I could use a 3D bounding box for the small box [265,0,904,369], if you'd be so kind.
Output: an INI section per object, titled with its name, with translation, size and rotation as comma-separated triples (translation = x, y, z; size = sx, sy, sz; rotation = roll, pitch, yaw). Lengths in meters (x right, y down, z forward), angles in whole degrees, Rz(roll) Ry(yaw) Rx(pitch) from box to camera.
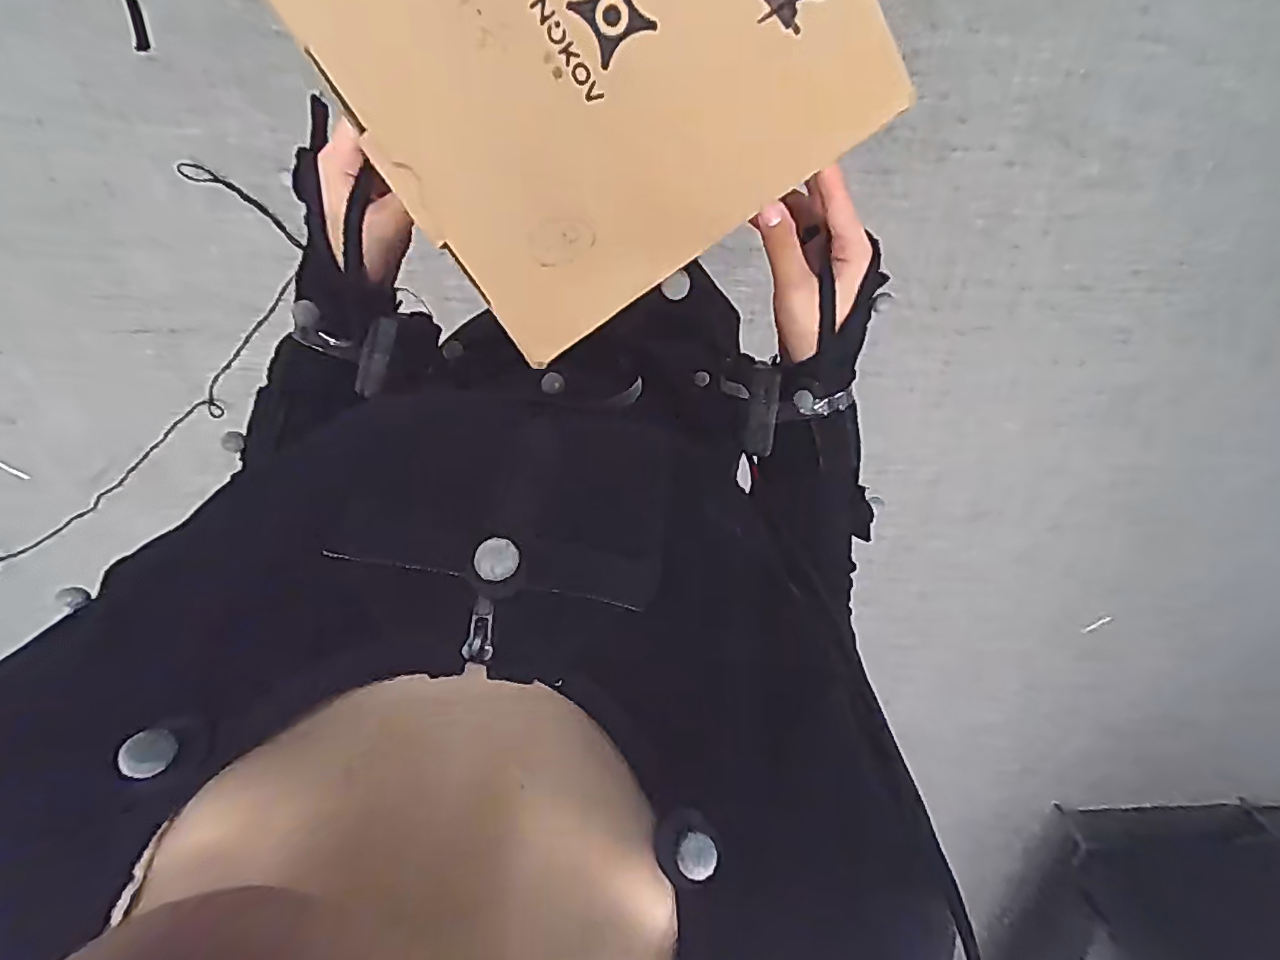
[small box]
translation = -0.016, -0.179, 0.267
size = 0.179, 0.176, 0.168
rotation = -32, 107, 12
